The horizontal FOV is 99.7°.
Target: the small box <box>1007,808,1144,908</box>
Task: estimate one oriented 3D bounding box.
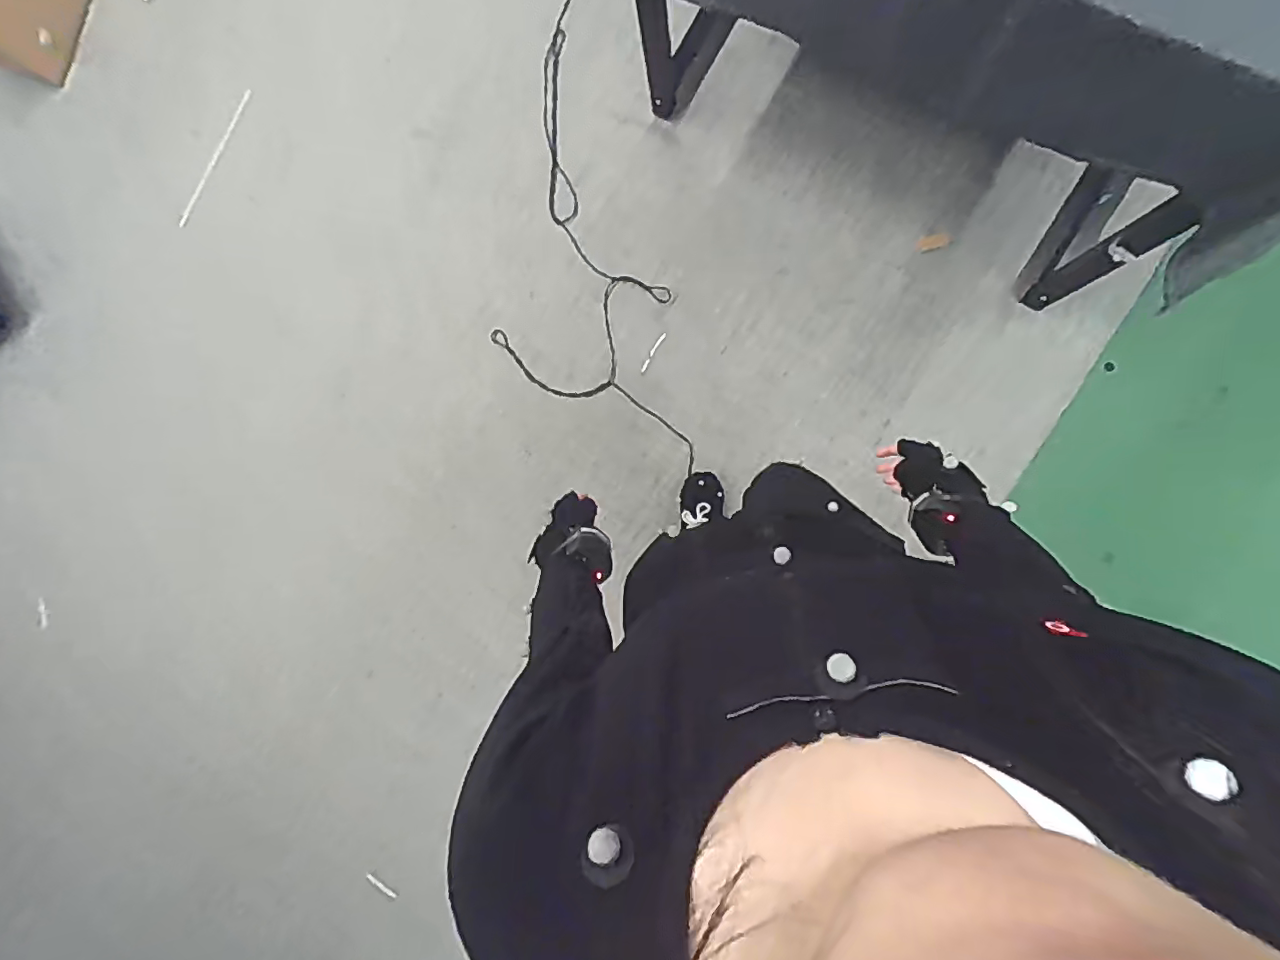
[{"bbox_3d":[1.027,0.927,1.276,0.179,0.176,0.168,32,93,8],"label":"small box"}]
